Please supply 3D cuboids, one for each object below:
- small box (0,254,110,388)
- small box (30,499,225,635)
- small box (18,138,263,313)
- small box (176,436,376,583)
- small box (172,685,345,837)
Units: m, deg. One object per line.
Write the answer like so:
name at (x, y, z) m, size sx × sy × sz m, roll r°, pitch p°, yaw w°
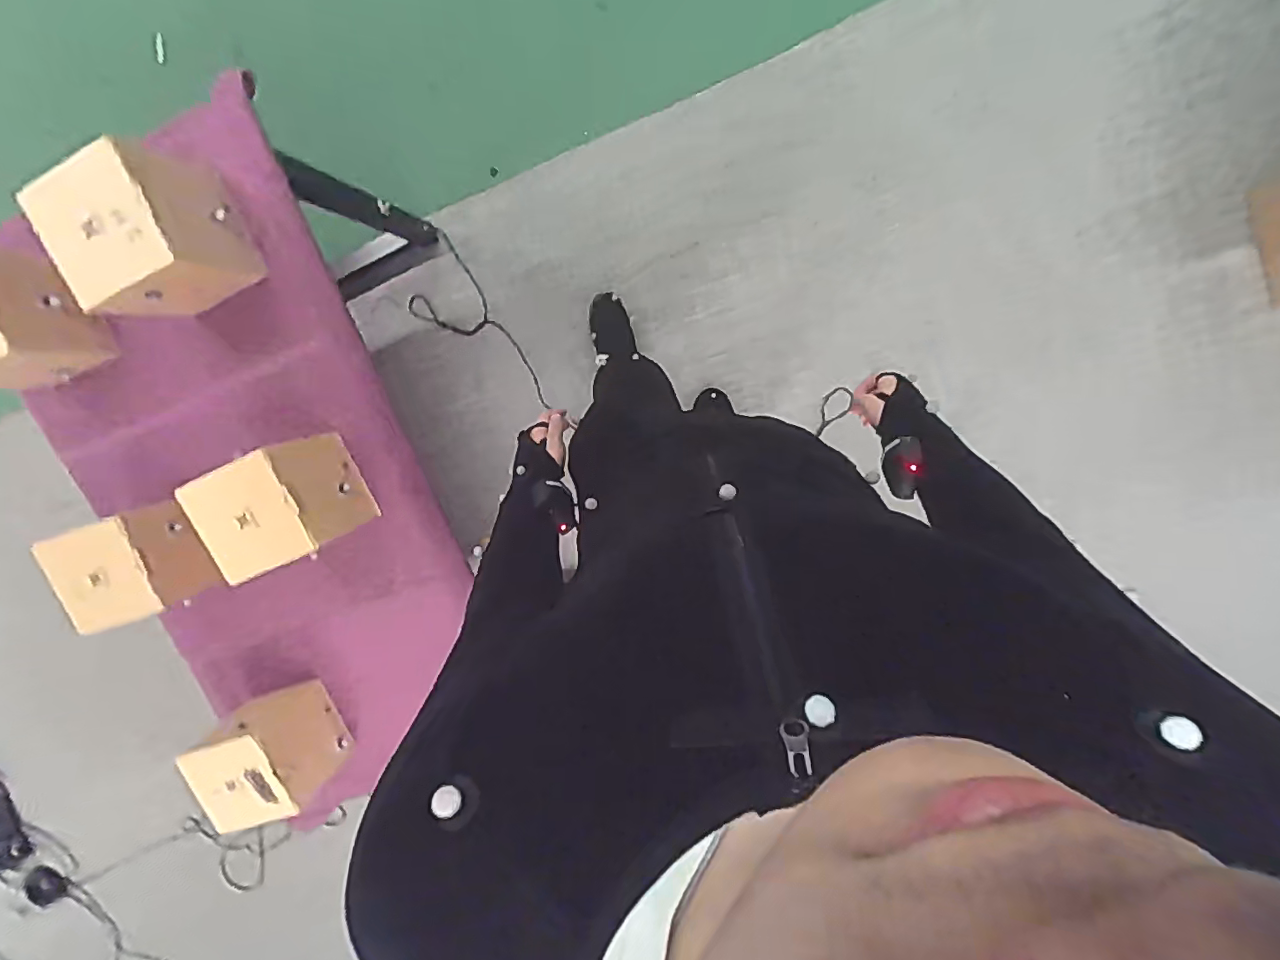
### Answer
small box at (-1.013, -0.251, 0.861) m, size 0.179 × 0.176 × 0.168 m, roll -19°, pitch 100°, yaw 7°
small box at (-0.856, 0.138, 0.936) m, size 0.179 × 0.176 × 0.168 m, roll -17°, pitch 100°, yaw 10°
small box at (-0.722, -0.359, 0.803) m, size 0.179 × 0.176 × 0.168 m, roll -20°, pitch 102°, yaw 11°
small box at (-0.580, 0.040, 0.884) m, size 0.179 × 0.176 × 0.168 m, roll -22°, pitch 99°, yaw 11°
small box at (-0.684, 0.508, 0.999) m, size 0.179 × 0.176 × 0.168 m, roll -20°, pitch 99°, yaw 10°
